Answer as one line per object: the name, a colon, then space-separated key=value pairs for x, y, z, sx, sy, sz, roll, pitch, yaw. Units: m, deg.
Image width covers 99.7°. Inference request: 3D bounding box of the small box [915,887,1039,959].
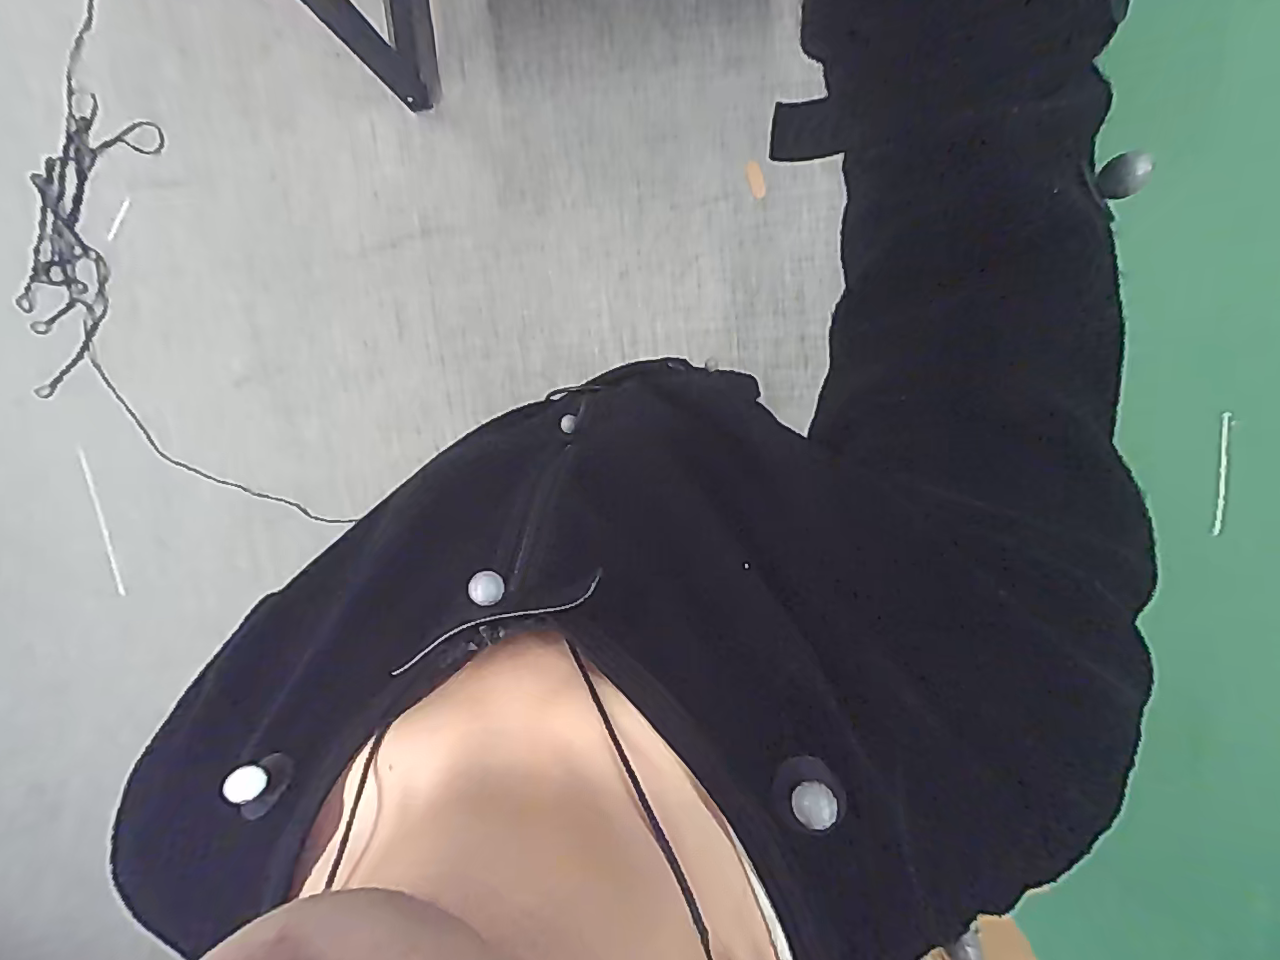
small box: x=0.646 y=0.922 z=1.020 sx=0.179 sy=0.176 sz=0.168 roll=-20 pitch=96 yaw=8
